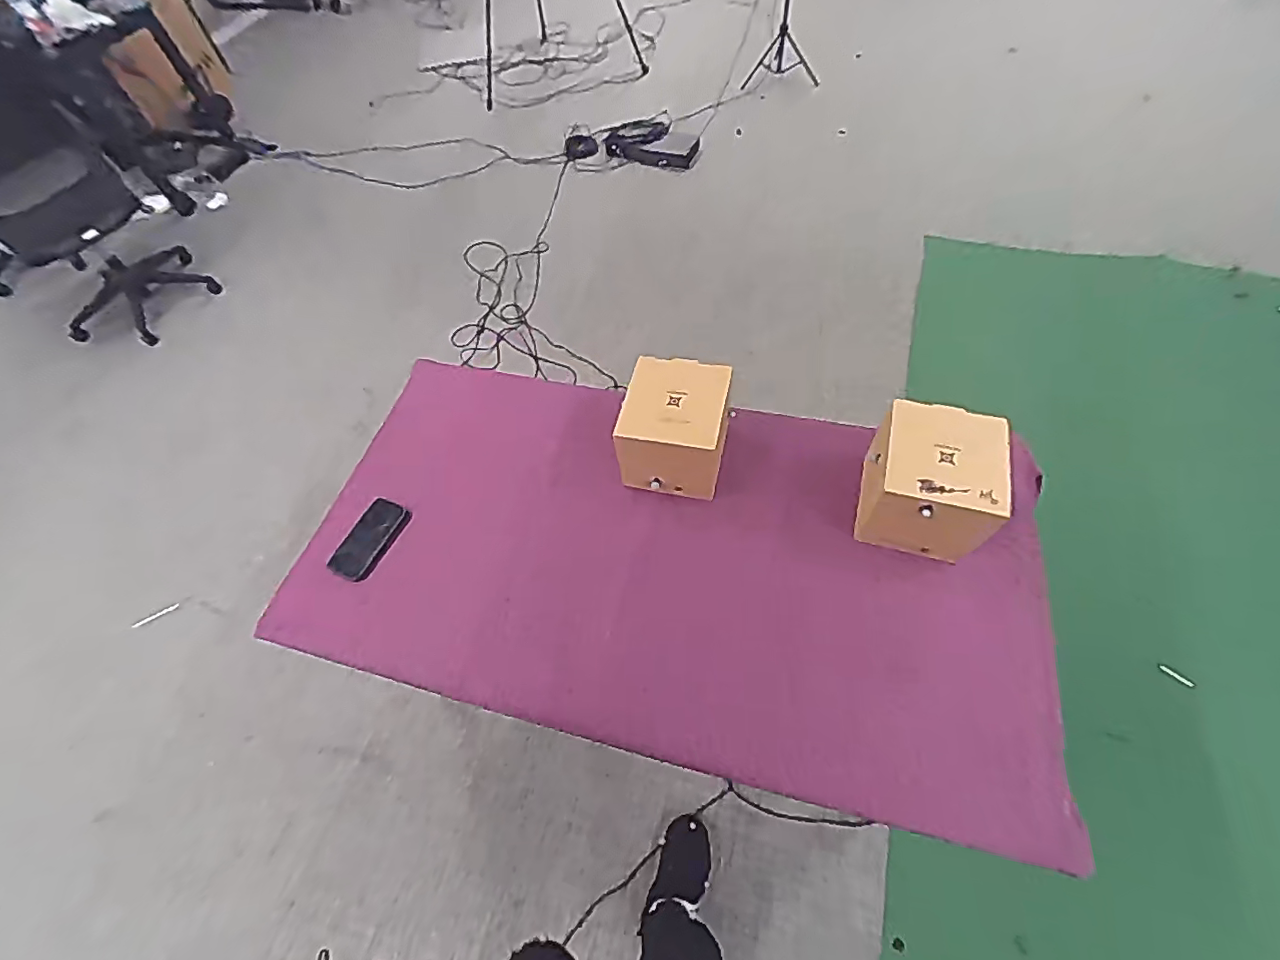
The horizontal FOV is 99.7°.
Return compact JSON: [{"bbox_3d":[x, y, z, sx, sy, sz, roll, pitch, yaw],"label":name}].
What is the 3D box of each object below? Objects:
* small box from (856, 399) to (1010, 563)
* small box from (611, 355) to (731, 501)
[{"bbox_3d":[0.448,0.004,0.846,0.168,0.176,0.179,13,60,14],"label":"small box"},{"bbox_3d":[0.058,-0.088,0.940,0.168,0.176,0.179,10,60,12],"label":"small box"}]
